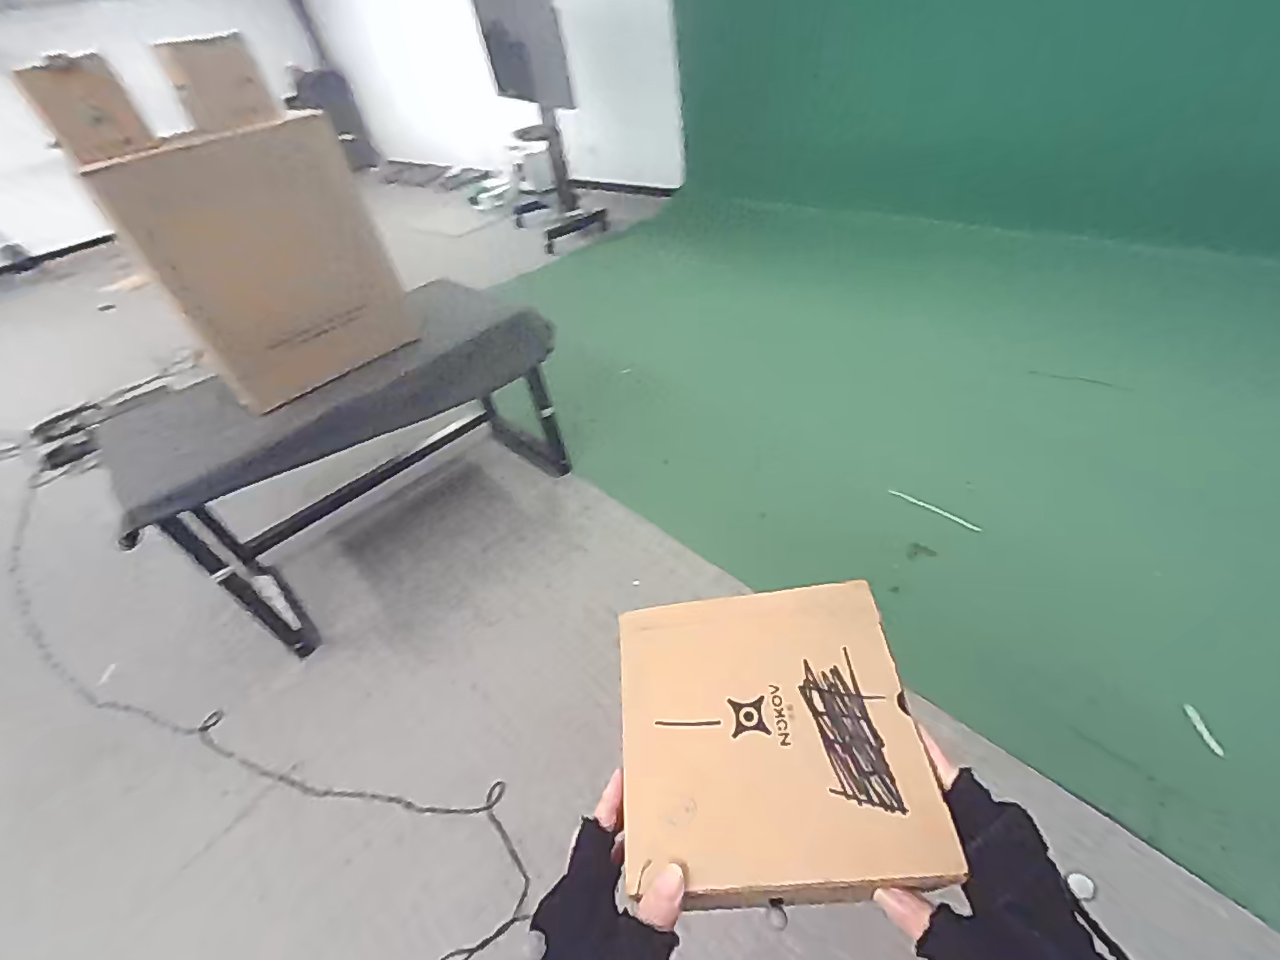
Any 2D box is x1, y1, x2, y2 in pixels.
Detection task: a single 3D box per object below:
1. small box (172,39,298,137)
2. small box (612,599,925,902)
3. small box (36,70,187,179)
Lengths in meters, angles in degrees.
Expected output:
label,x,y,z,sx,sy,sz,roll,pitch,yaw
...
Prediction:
label,x,y,z,sx,sy,sz,roll,pitch,yaw
small box,-0.975,-0.945,1.311,0.179,0.176,0.168,28,53,36
small box,0.080,0.210,0.411,0.179,0.176,0.168,-8,48,6
small box,-1.164,-0.787,1.202,0.179,0.176,0.168,26,55,33
